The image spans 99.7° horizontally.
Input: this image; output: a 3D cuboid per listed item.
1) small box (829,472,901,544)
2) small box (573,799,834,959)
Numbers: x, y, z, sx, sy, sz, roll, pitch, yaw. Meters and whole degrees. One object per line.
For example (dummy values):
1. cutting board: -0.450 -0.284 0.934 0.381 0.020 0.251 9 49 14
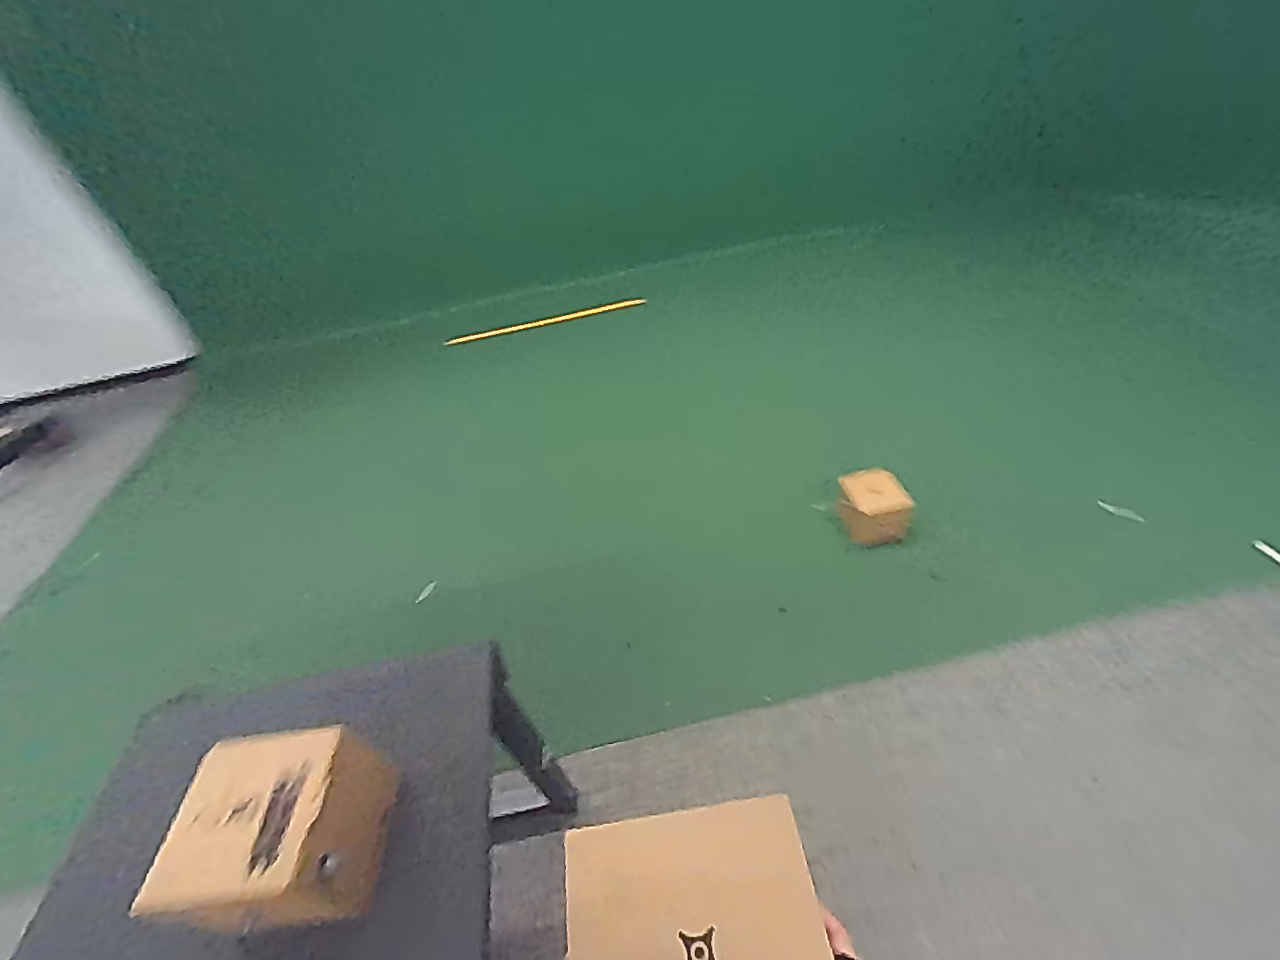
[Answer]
1. small box: 0.770 0.103 1.867 0.168 0.176 0.179 -13 41 -2
2. small box: 0.047 0.359 0.393 0.168 0.176 0.179 -9 47 1
